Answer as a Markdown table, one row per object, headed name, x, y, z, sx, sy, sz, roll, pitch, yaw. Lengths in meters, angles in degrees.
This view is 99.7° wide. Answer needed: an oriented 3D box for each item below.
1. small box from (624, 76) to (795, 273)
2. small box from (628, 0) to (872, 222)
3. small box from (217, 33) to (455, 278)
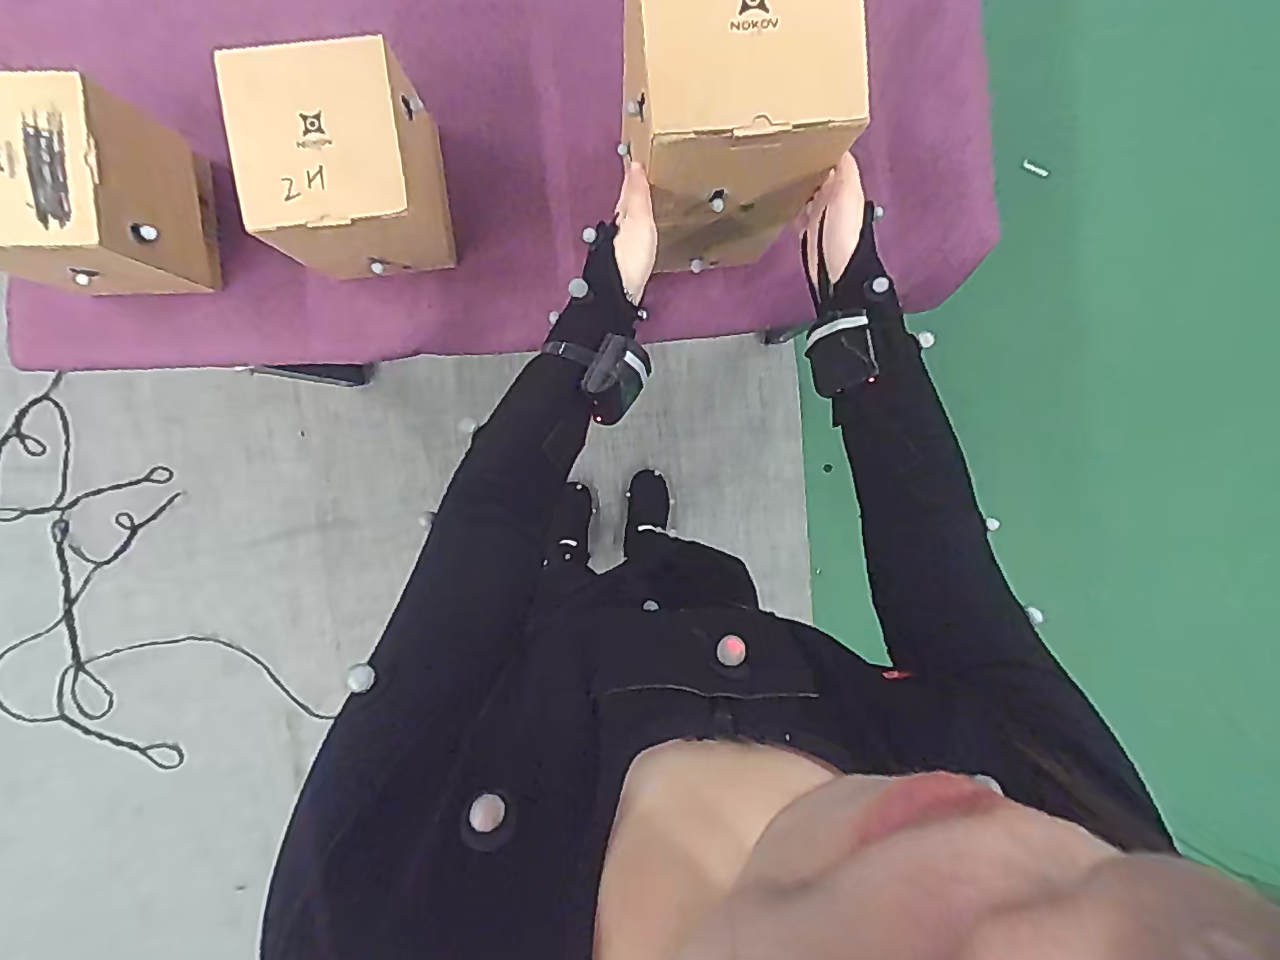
| name | x | y | z | sx | sy | sz | roll | pitch | yaw |
| --- | --- | --- | --- | --- | --- | --- | --- | --- | --- |
| small box | 0.070 | -0.361 | 0.634 | 0.168 | 0.176 | 0.179 | -6 | 96 | -2 |
| small box | 0.080 | -0.352 | 0.472 | 0.168 | 0.176 | 0.179 | -6 | 96 | -2 |
| small box | -0.325 | -0.350 | 0.613 | 0.168 | 0.176 | 0.179 | -7 | 94 | -2 |
